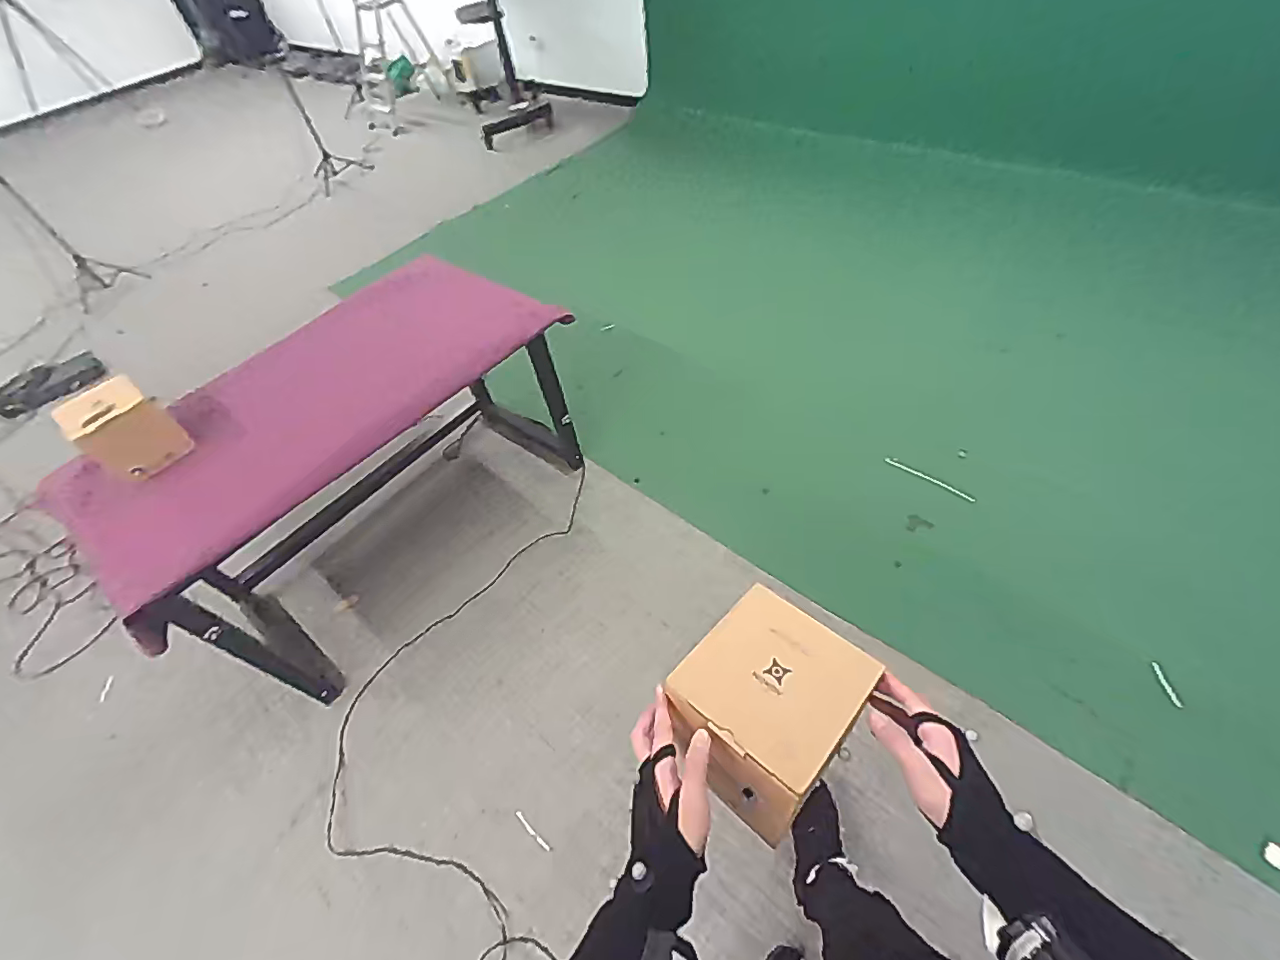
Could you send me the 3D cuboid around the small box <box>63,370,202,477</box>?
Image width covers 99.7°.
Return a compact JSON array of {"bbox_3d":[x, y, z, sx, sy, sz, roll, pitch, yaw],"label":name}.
[{"bbox_3d":[-1.241,-0.134,1.335,0.179,0.176,0.168,31,61,29],"label":"small box"}]
